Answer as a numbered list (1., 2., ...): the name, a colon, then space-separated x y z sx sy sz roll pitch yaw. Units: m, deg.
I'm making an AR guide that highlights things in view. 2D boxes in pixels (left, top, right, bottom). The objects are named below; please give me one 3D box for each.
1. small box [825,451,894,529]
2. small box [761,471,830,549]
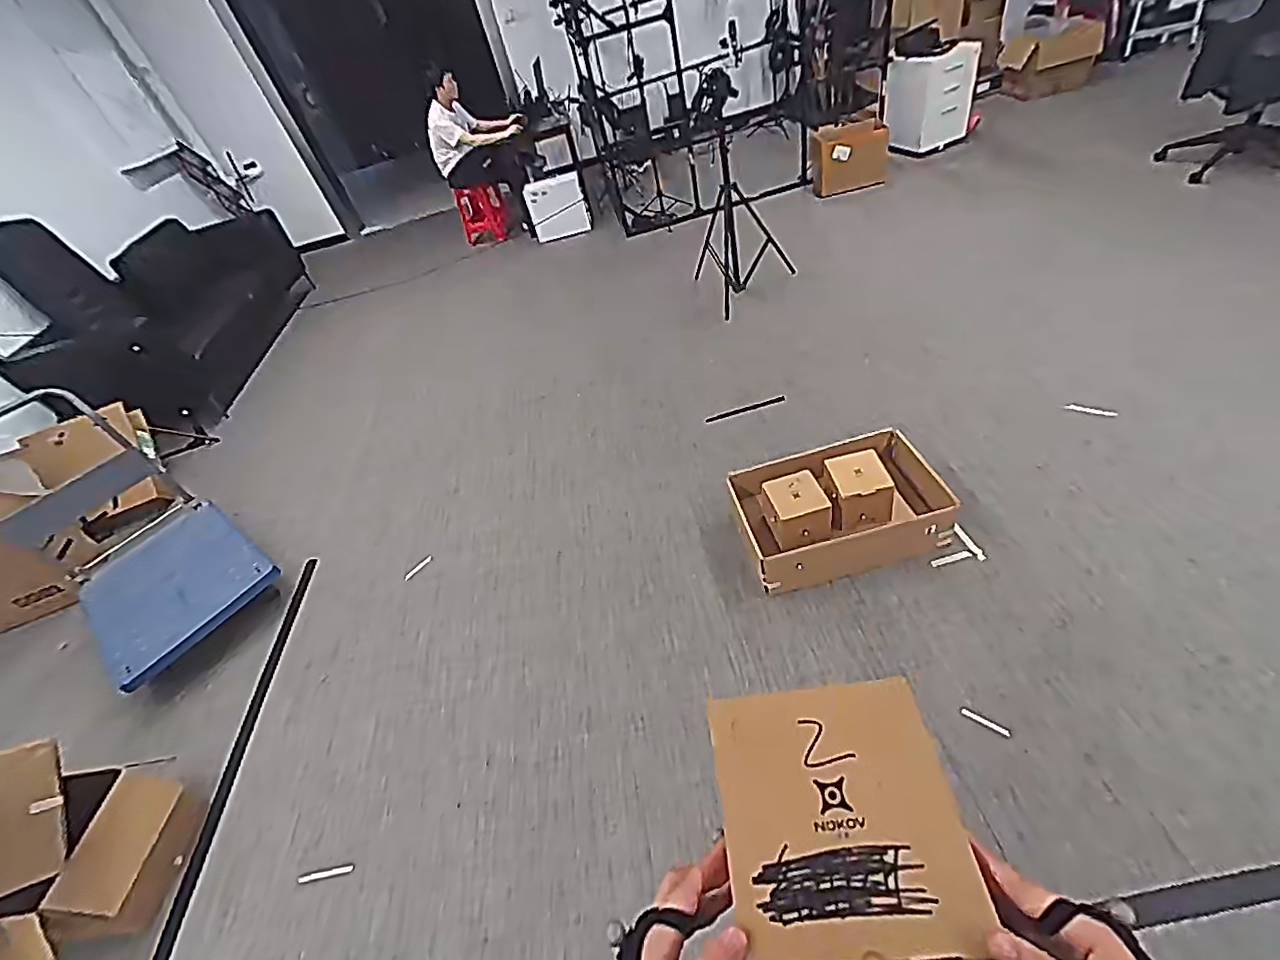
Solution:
1. small box: 0.715 0.036 1.786 0.168 0.176 0.179 -13 43 6
2. small box: 0.509 0.106 1.776 0.168 0.176 0.179 -16 43 -1
